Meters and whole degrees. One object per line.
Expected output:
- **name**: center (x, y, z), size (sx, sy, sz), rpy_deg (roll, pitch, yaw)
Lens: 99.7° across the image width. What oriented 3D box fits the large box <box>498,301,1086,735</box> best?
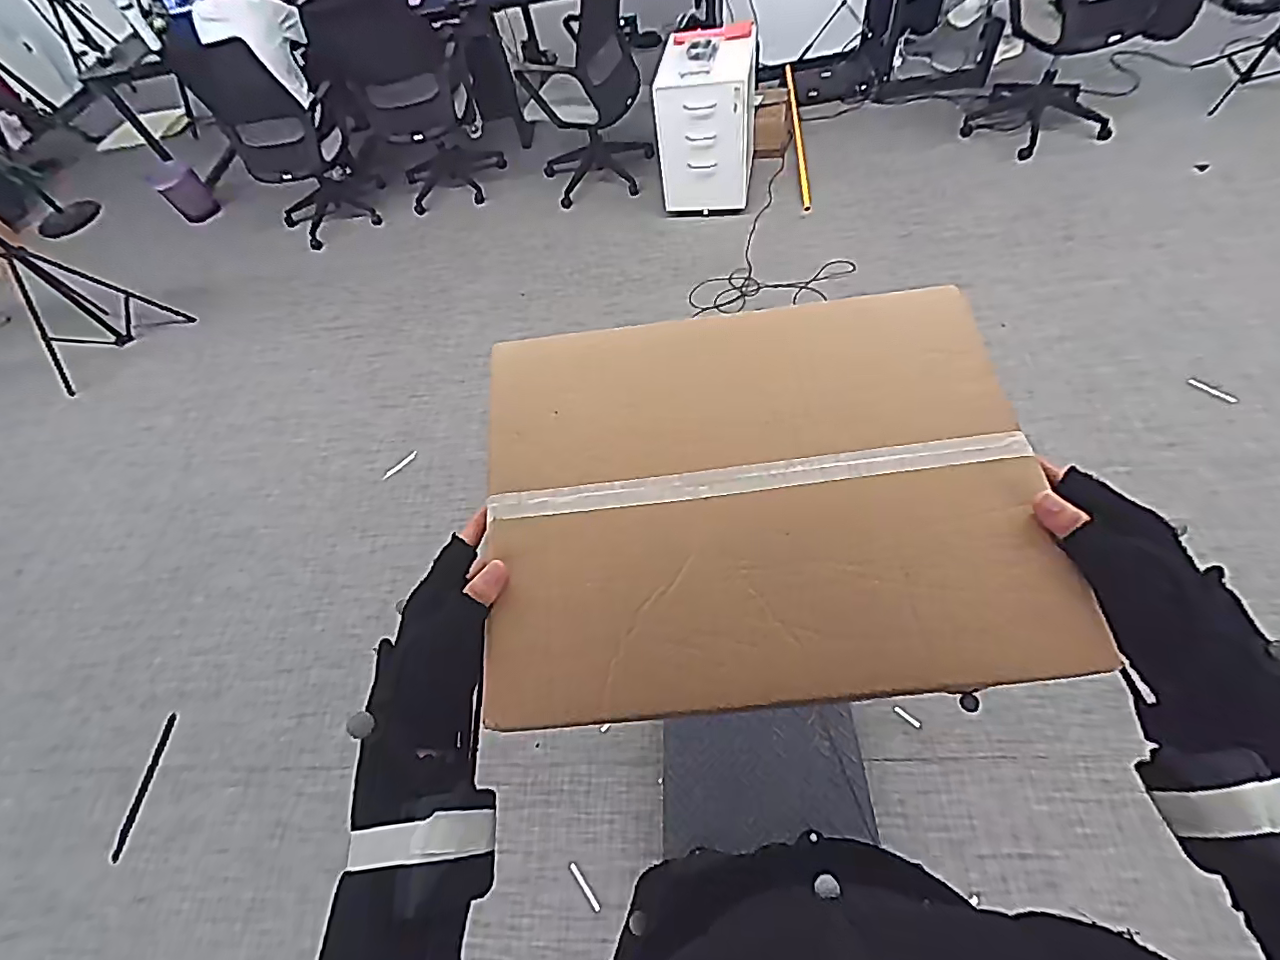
- **large box**: center (0.100, 0.065, 0.557), size (0.408, 0.320, 0.320), rpy_deg (-7, 66, 3)
